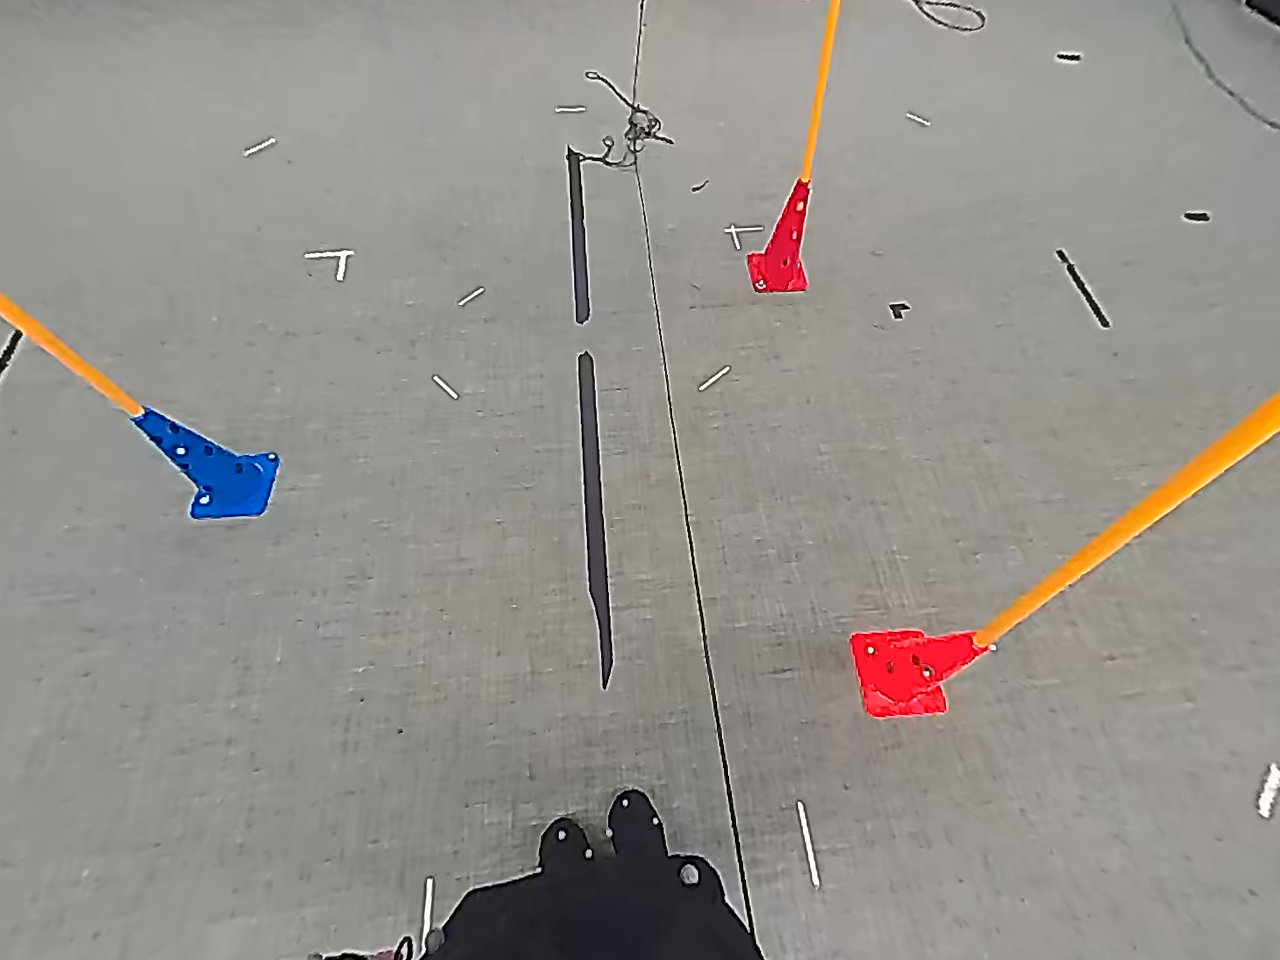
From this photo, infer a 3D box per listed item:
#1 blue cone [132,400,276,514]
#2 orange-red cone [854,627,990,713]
[{"bbox_3d":[-1.141,-0.070,1.387,0.193,0.380,0.192,-1,61,-3],"label":"blue cone"},{"bbox_3d":[0.637,0.380,1.168,0.198,0.360,0.199,-2,62,-2],"label":"orange-red cone"}]
